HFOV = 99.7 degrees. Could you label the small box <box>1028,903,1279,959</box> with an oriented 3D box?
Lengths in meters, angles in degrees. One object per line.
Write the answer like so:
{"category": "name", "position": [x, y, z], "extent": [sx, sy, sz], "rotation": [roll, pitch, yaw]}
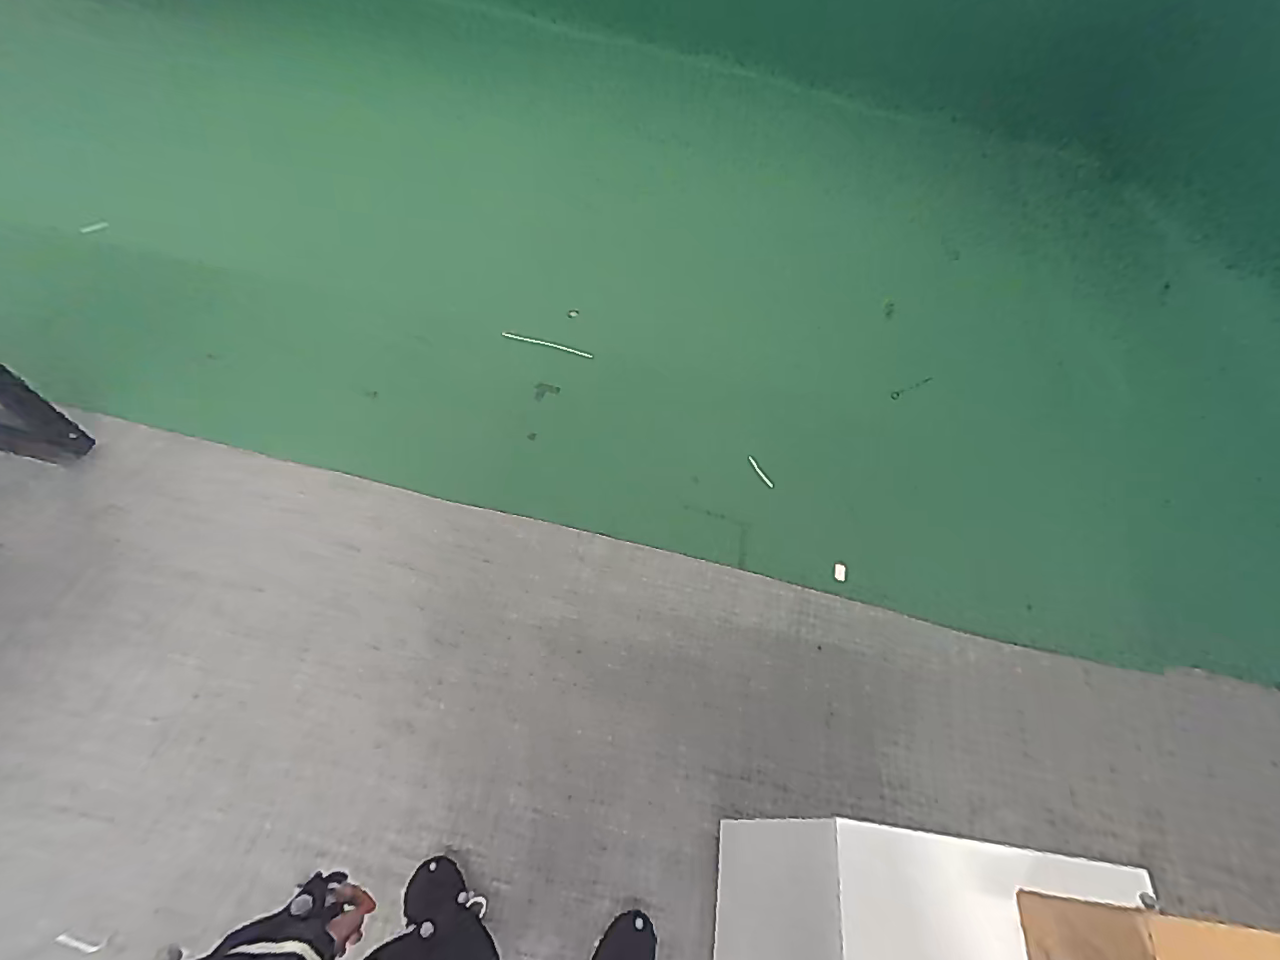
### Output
{"category": "small box", "position": [0.528, 0.527, 0.518], "extent": [0.179, 0.176, 0.168], "rotation": [9, 57, -1]}
